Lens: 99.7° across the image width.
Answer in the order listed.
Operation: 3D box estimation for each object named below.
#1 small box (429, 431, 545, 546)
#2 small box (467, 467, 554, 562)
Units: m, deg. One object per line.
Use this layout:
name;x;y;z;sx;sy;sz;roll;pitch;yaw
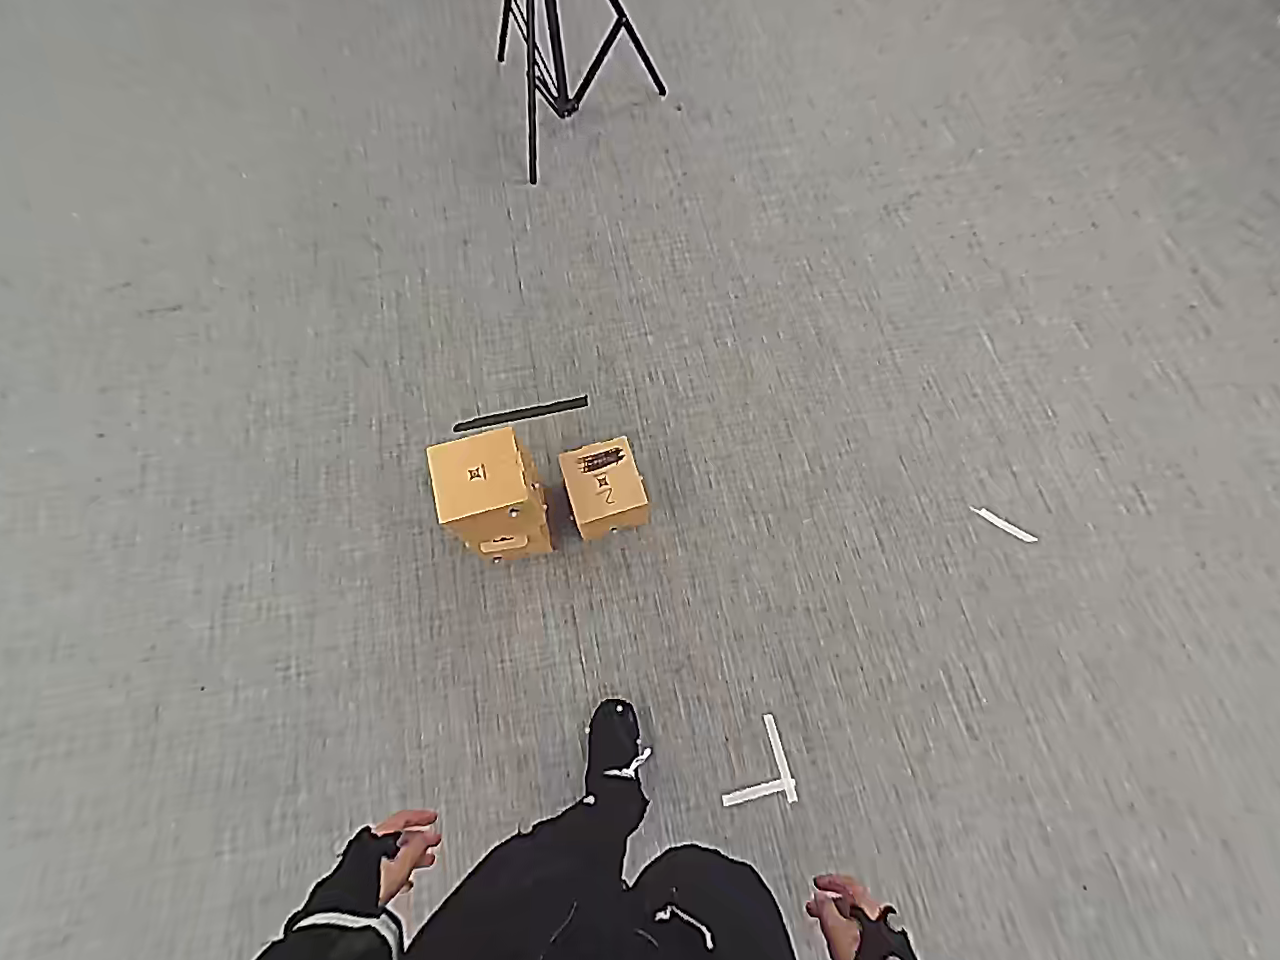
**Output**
small box;-0.310;0.025;1.119;0.179;0.176;0.168;-16;70;-6
small box;-0.303;0.089;1.268;0.168;0.176;0.179;-9;69;-3
